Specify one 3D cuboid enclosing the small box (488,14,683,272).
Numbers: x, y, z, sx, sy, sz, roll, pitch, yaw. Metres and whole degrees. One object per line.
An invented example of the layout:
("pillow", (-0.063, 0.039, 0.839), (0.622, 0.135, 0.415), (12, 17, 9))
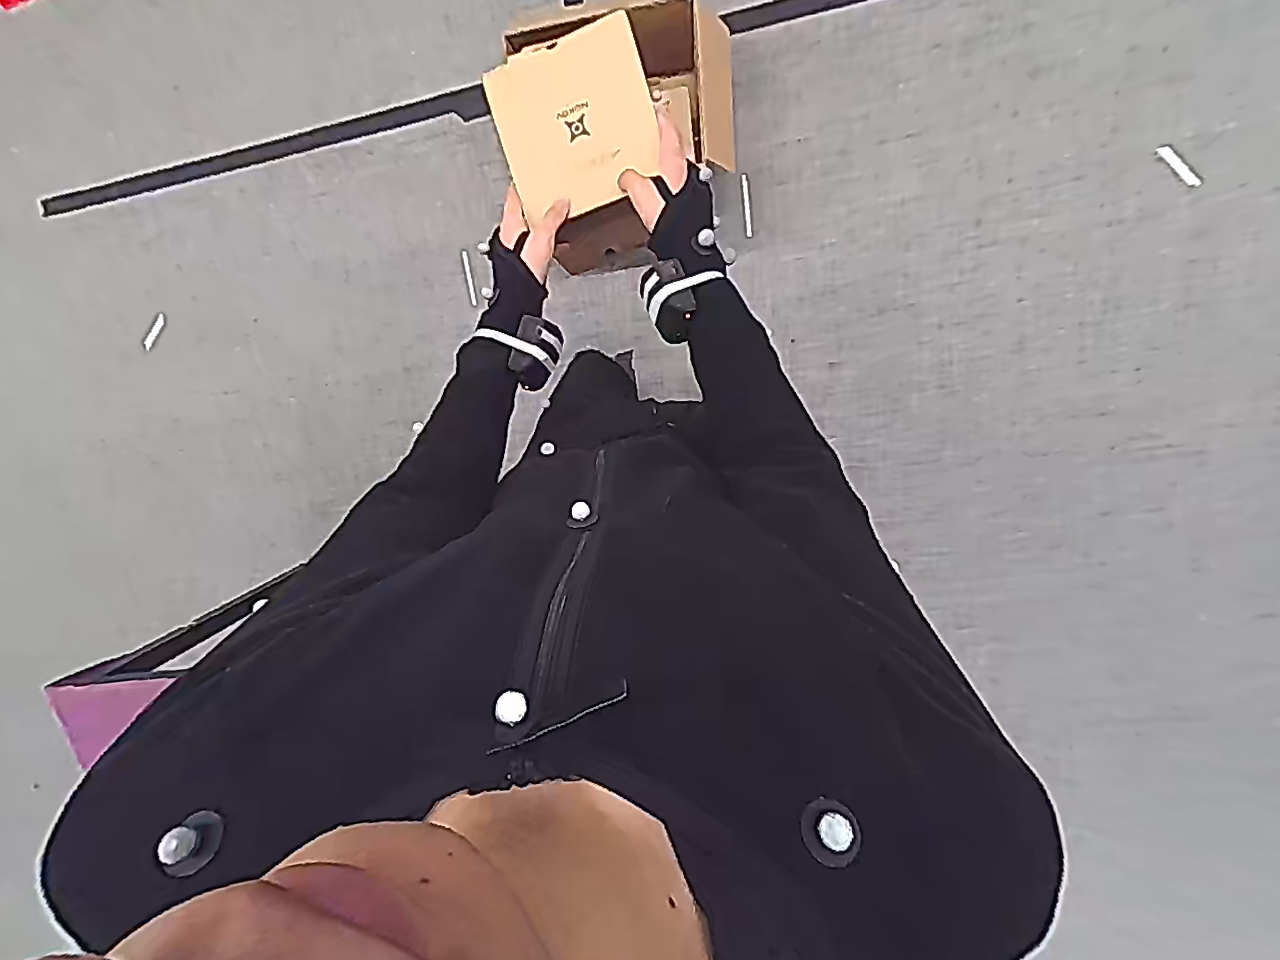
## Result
("small box", (-0.052, -0.380, 0.646), (0.168, 0.176, 0.179), (-17, 91, 10))
